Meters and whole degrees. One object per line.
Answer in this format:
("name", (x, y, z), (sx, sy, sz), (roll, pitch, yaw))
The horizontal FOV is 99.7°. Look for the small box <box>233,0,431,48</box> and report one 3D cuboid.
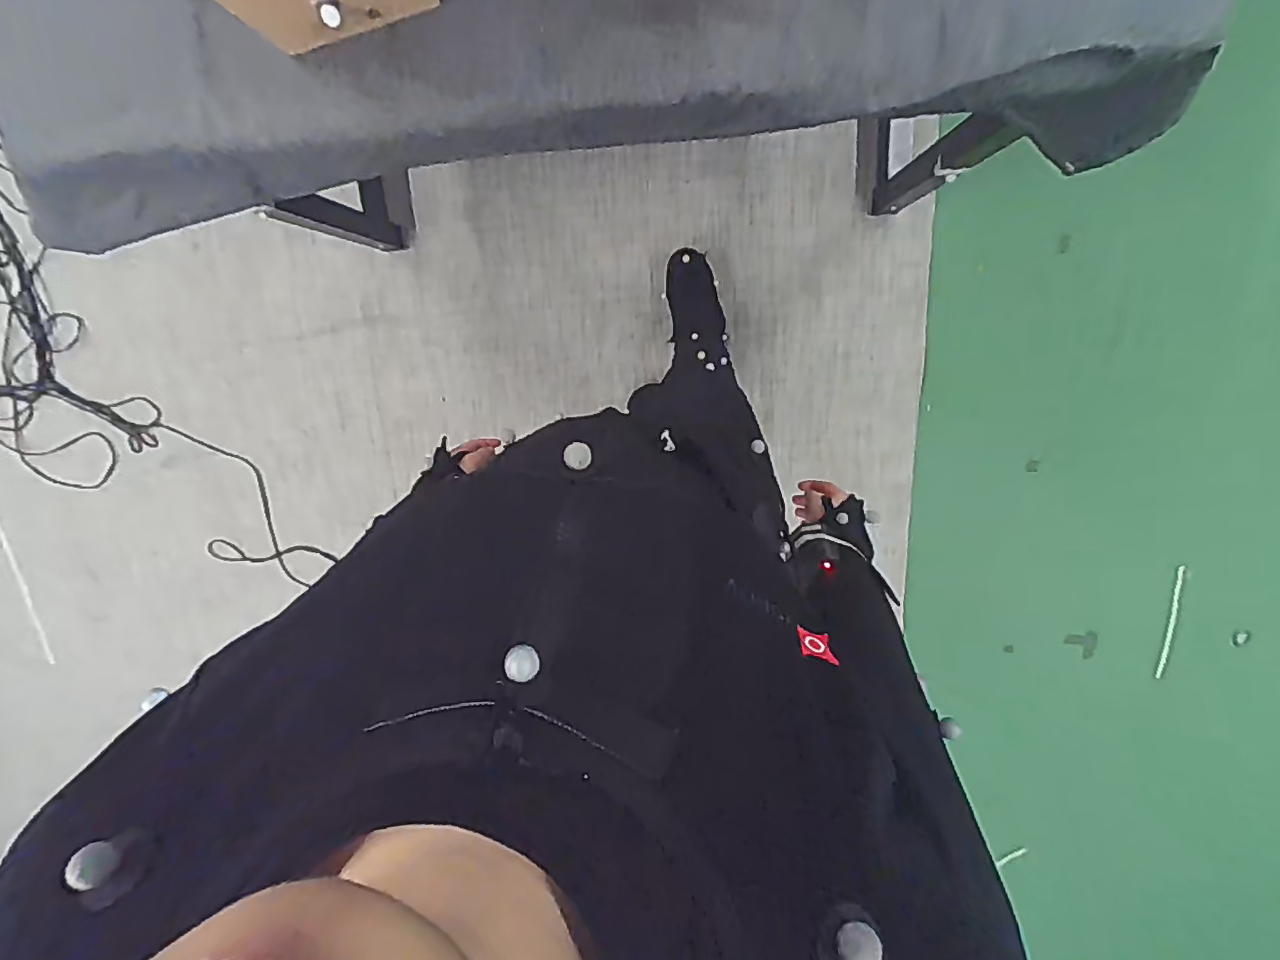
("small box", (-0.294, -0.499, 0.426), (0.168, 0.176, 0.179), (-12, 104, 7))
